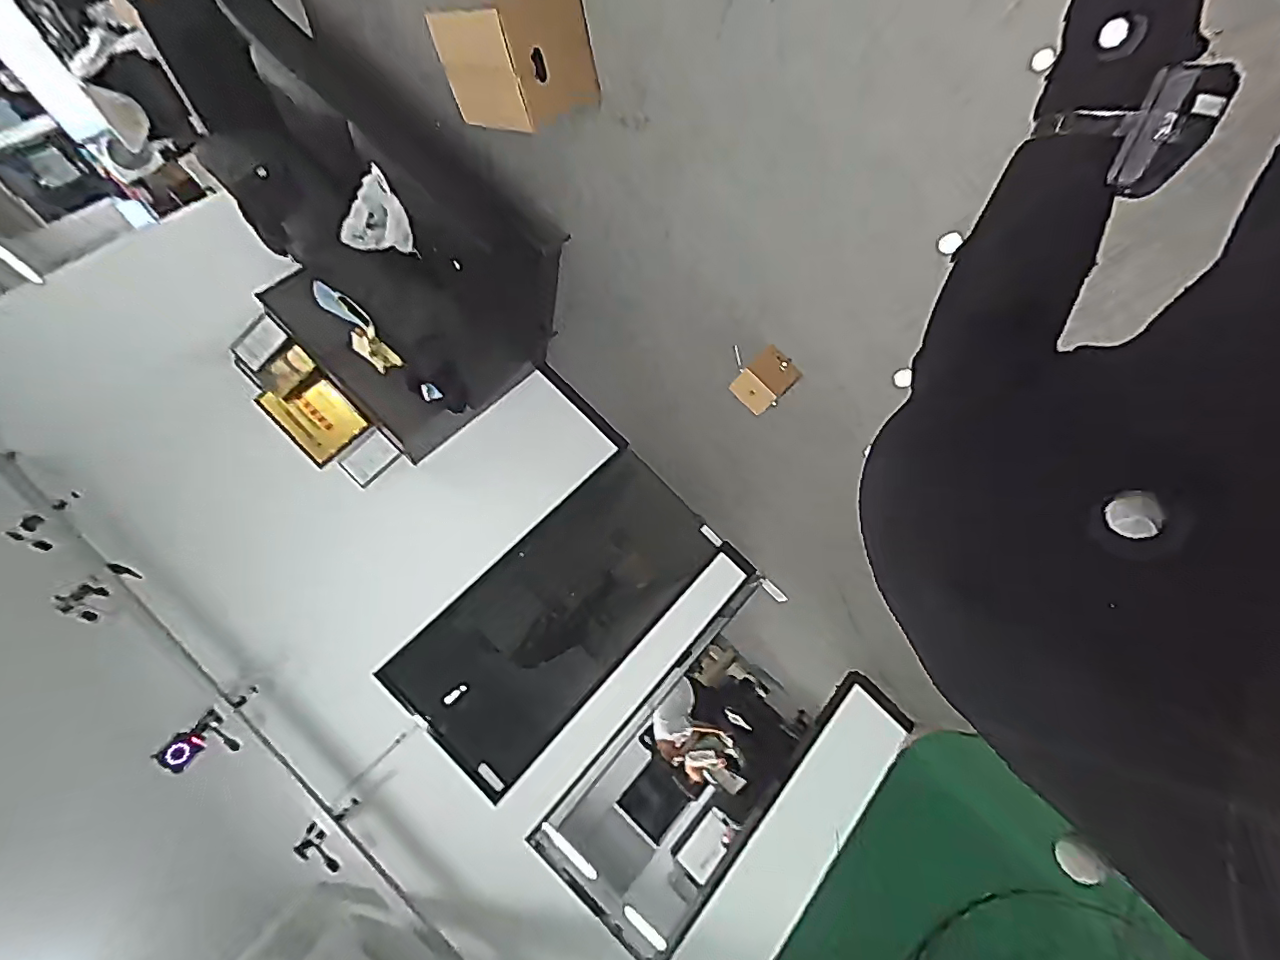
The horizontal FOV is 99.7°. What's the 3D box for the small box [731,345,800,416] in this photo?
[{"bbox_3d":[0.495,-0.390,2.119,0.168,0.176,0.179,44,158,3],"label":"small box"}]
